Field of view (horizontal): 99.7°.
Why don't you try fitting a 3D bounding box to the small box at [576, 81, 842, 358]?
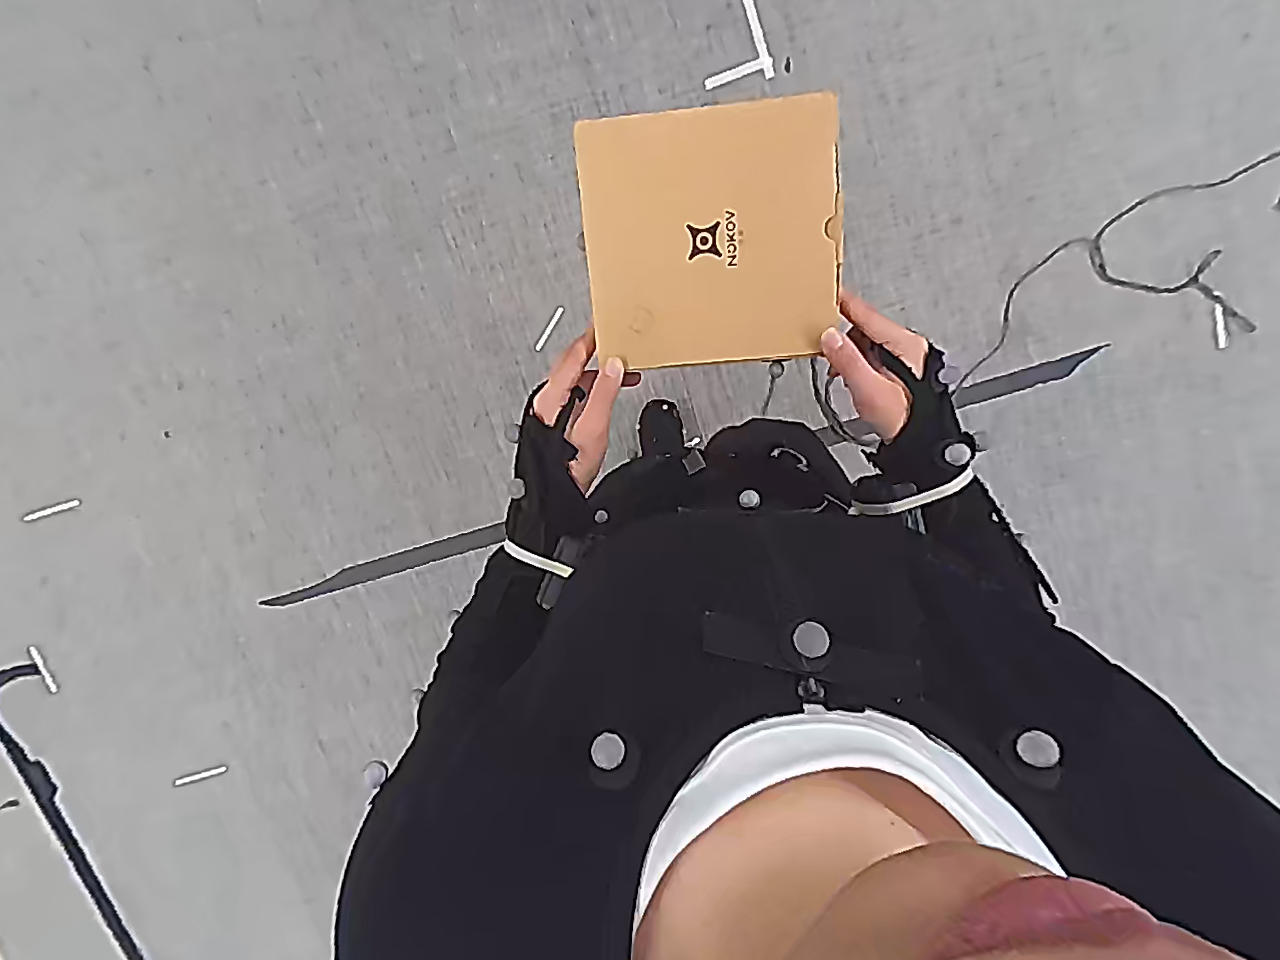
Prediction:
[{"bbox_3d":[0.053,-0.190,0.447,0.179,0.176,0.168,-4,103,3],"label":"small box"}]
